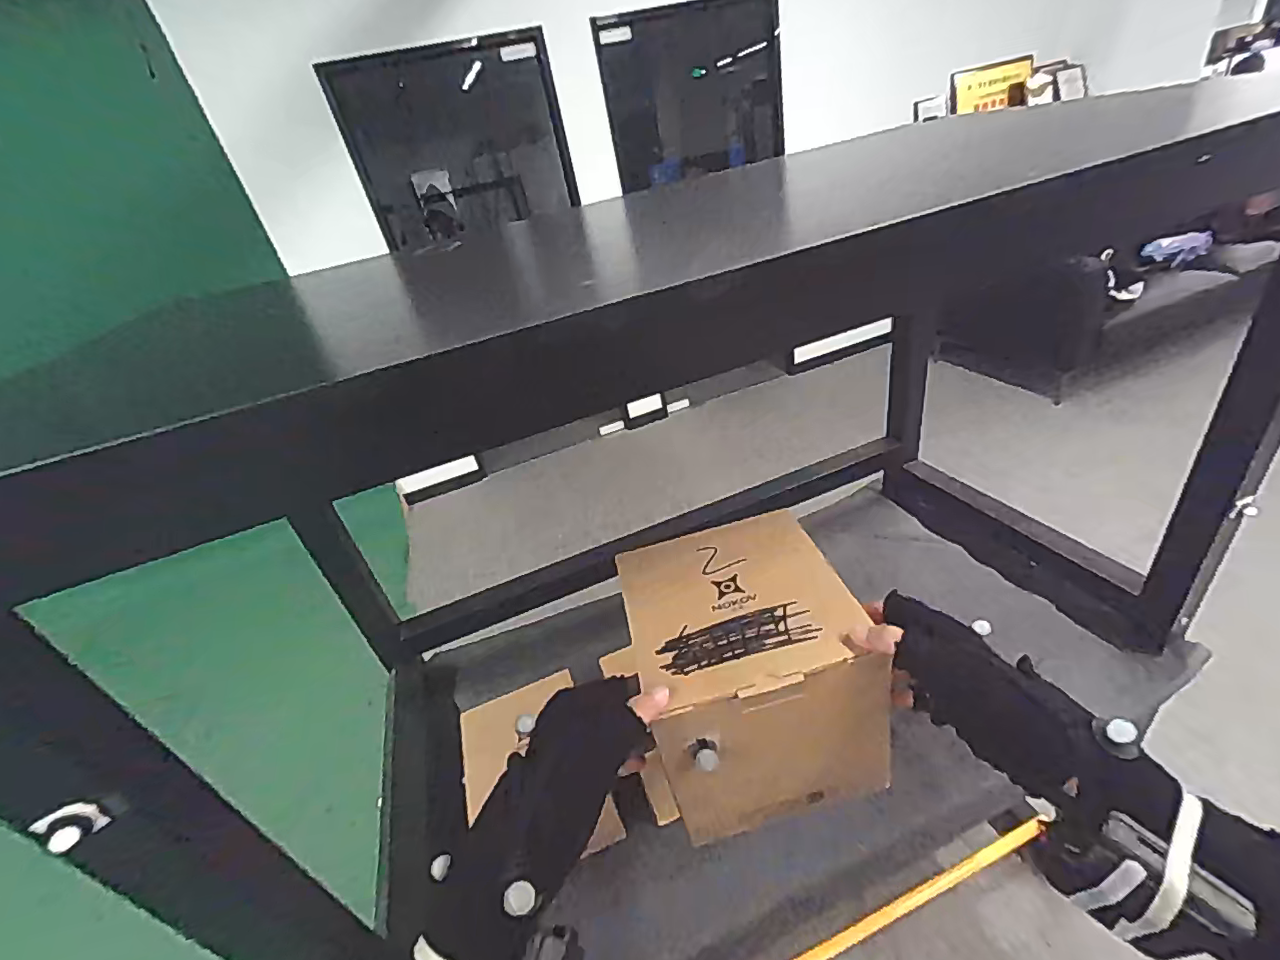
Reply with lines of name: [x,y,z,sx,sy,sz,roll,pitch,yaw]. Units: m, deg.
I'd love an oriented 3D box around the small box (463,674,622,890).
small box: [-0.138,0.419,0.762,0.168,0.176,0.179,-19,31,-12]

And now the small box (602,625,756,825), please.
small box: [0.056,0.357,0.799,0.168,0.176,0.179,-19,32,-11]
